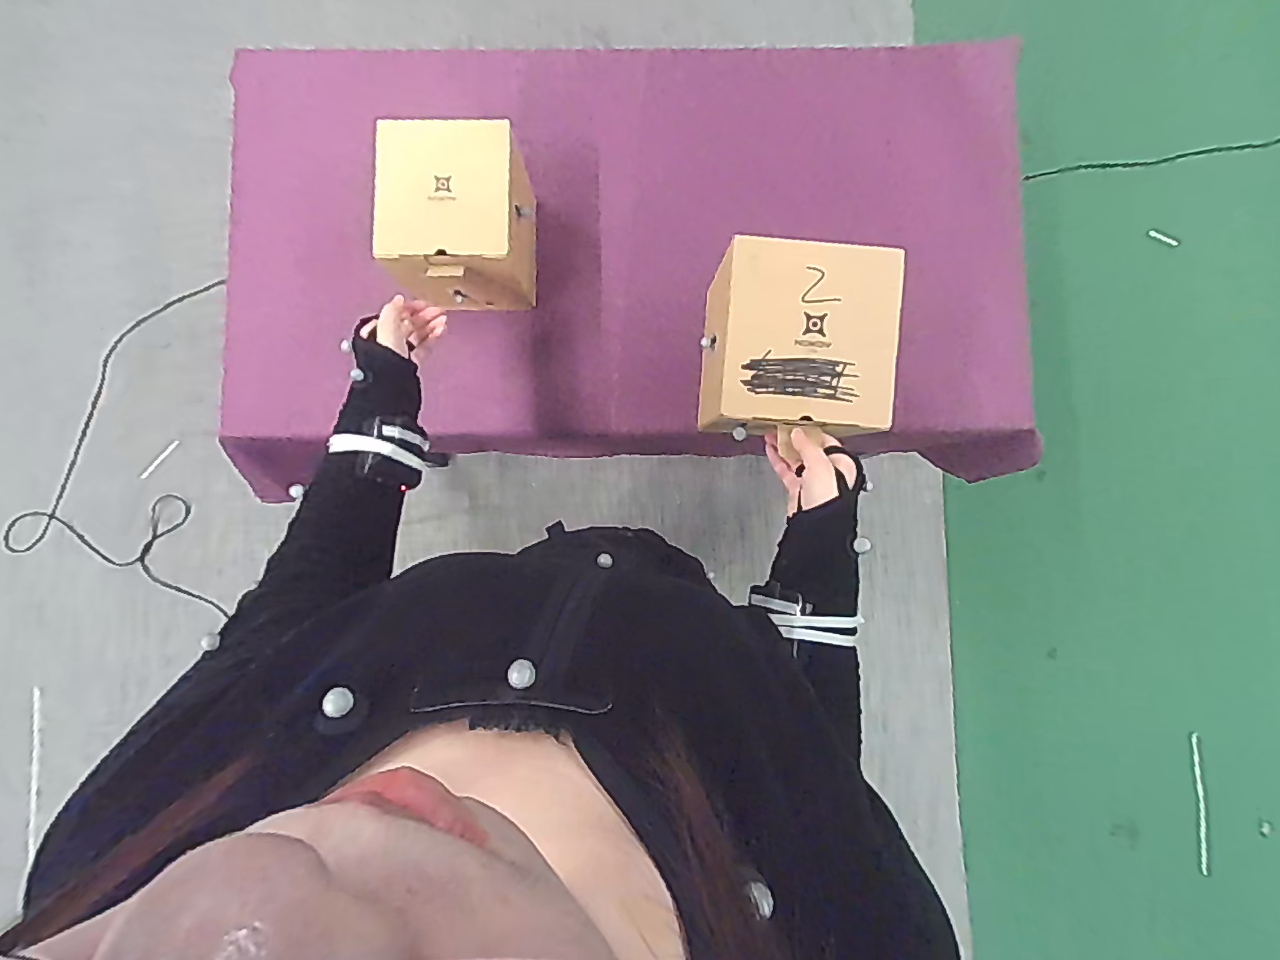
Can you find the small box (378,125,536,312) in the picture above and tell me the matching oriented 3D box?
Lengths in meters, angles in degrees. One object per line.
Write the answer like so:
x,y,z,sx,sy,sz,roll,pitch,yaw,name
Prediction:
-0.242,-0.353,0.755,0.168,0.176,0.179,0,86,-1,small box
